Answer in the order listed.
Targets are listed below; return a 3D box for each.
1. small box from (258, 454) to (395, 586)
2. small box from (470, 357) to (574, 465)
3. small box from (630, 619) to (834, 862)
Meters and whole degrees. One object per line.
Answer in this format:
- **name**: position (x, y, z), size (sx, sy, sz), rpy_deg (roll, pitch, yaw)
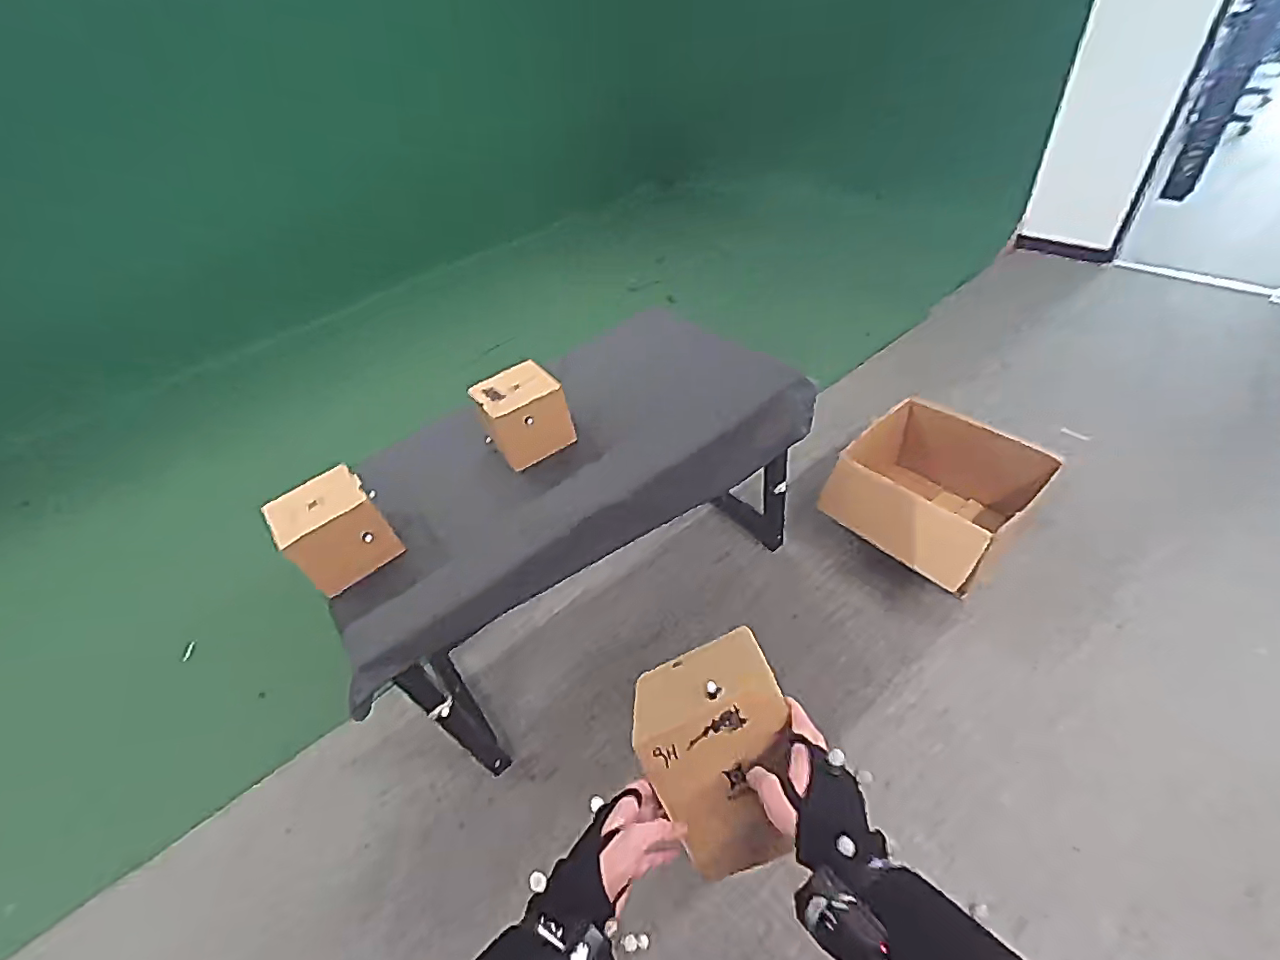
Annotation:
- **small box**: position (-0.640, 0.083, 1.125), size (0.179, 0.176, 0.168), rpy_deg (-36, 49, -23)
- **small box**: position (-0.285, -0.167, 1.322), size (0.179, 0.176, 0.168), rpy_deg (-28, 49, -16)
- **small box**: position (0.104, 0.299, 0.658), size (0.168, 0.179, 0.176), rpy_deg (-28, 2, 5)
